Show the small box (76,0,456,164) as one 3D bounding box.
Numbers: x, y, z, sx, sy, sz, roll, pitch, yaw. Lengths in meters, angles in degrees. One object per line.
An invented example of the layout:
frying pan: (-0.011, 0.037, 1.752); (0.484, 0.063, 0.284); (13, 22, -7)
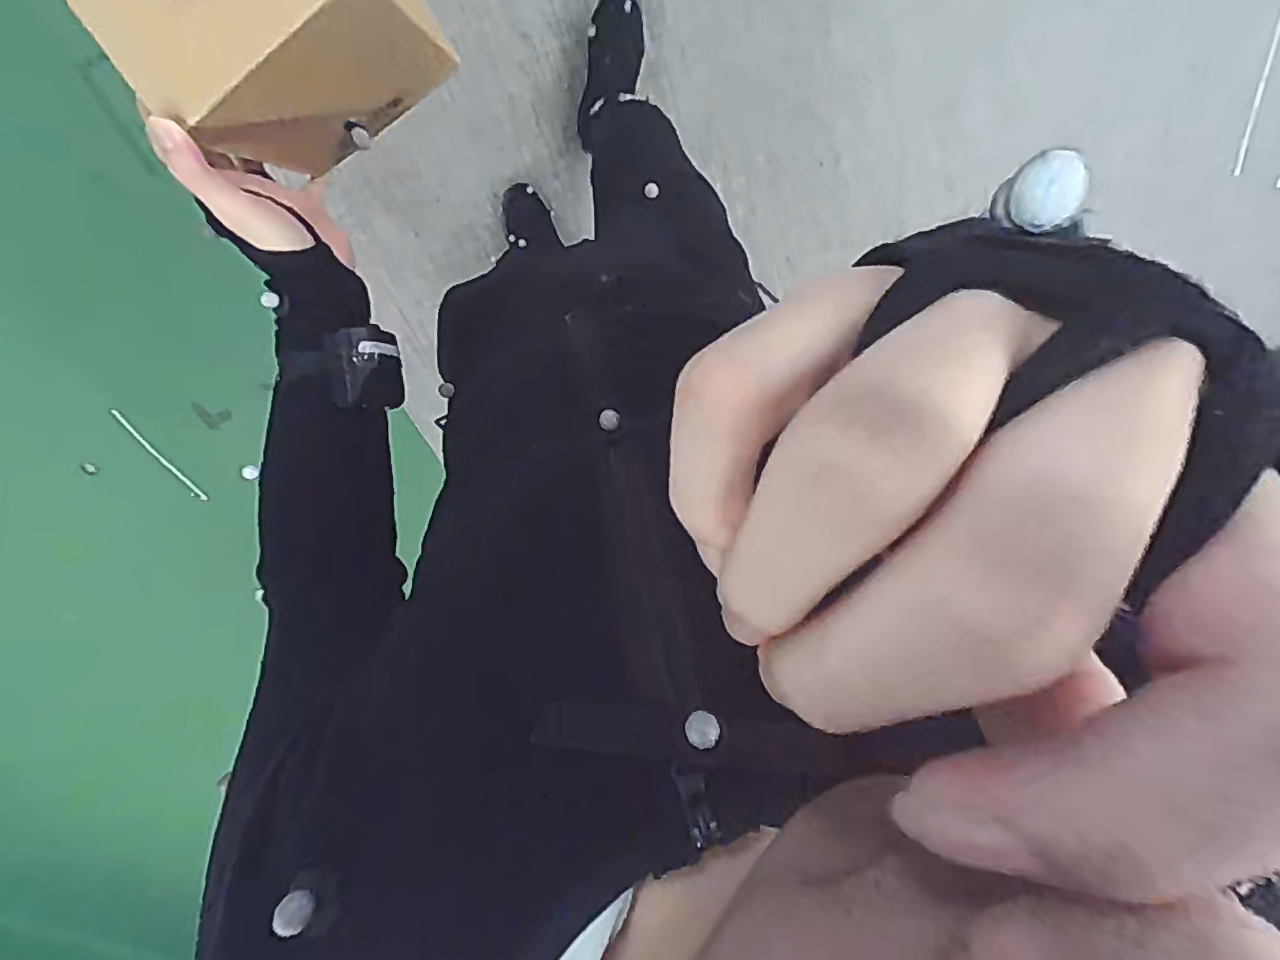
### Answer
small box: (-0.265, -0.358, 0.376); (0.168, 0.176, 0.179); (-27, 108, 13)
